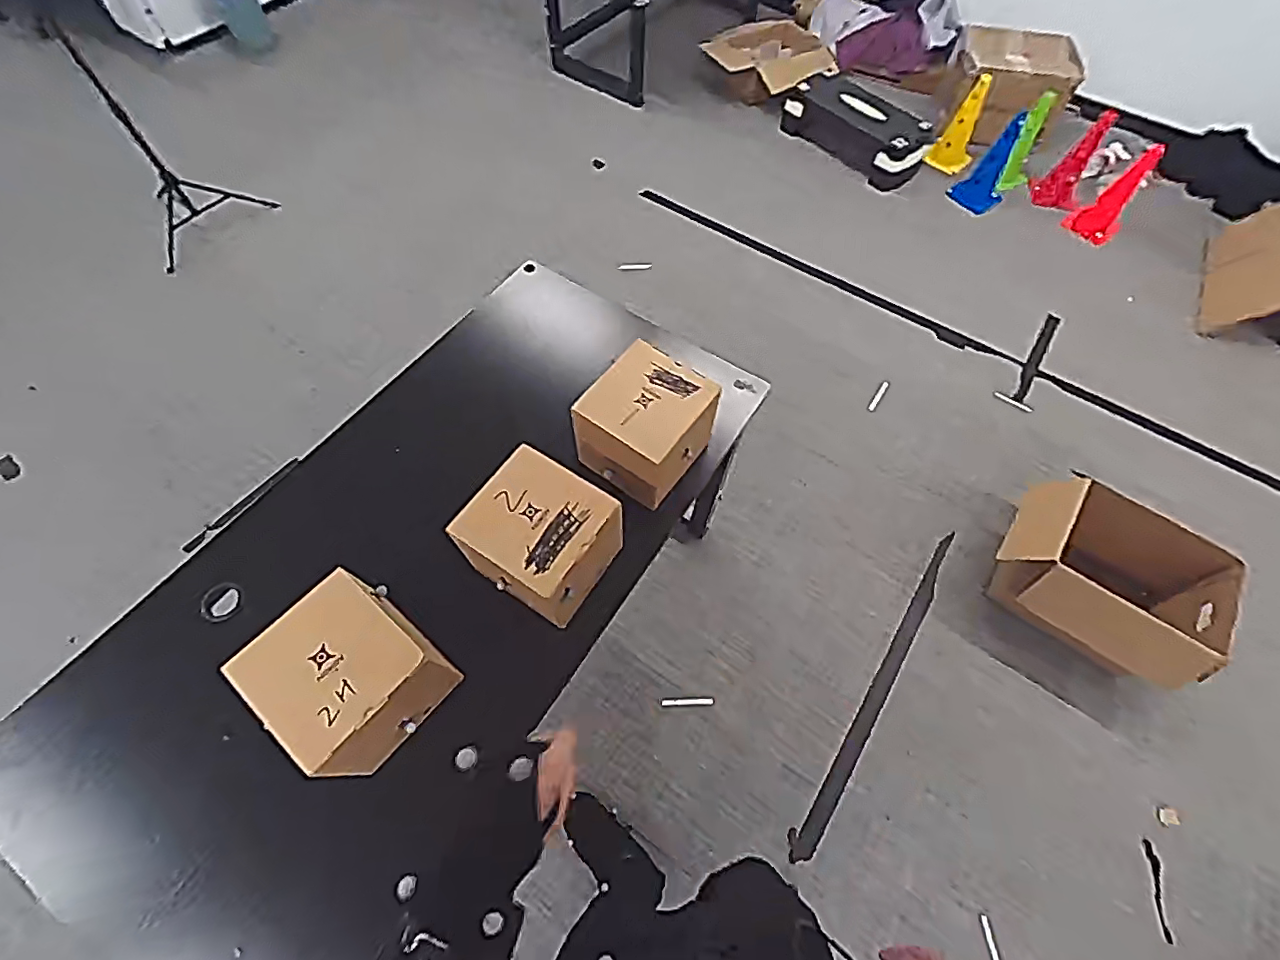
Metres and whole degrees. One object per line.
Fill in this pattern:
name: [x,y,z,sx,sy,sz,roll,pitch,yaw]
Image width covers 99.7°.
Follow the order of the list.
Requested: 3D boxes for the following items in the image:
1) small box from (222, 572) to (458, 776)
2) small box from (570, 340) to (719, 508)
small box: [-0.371,0.255,0.700,0.179,0.176,0.168,37,67,16]
small box: [0.005,-0.087,0.892,0.168,0.176,0.179,33,67,15]
